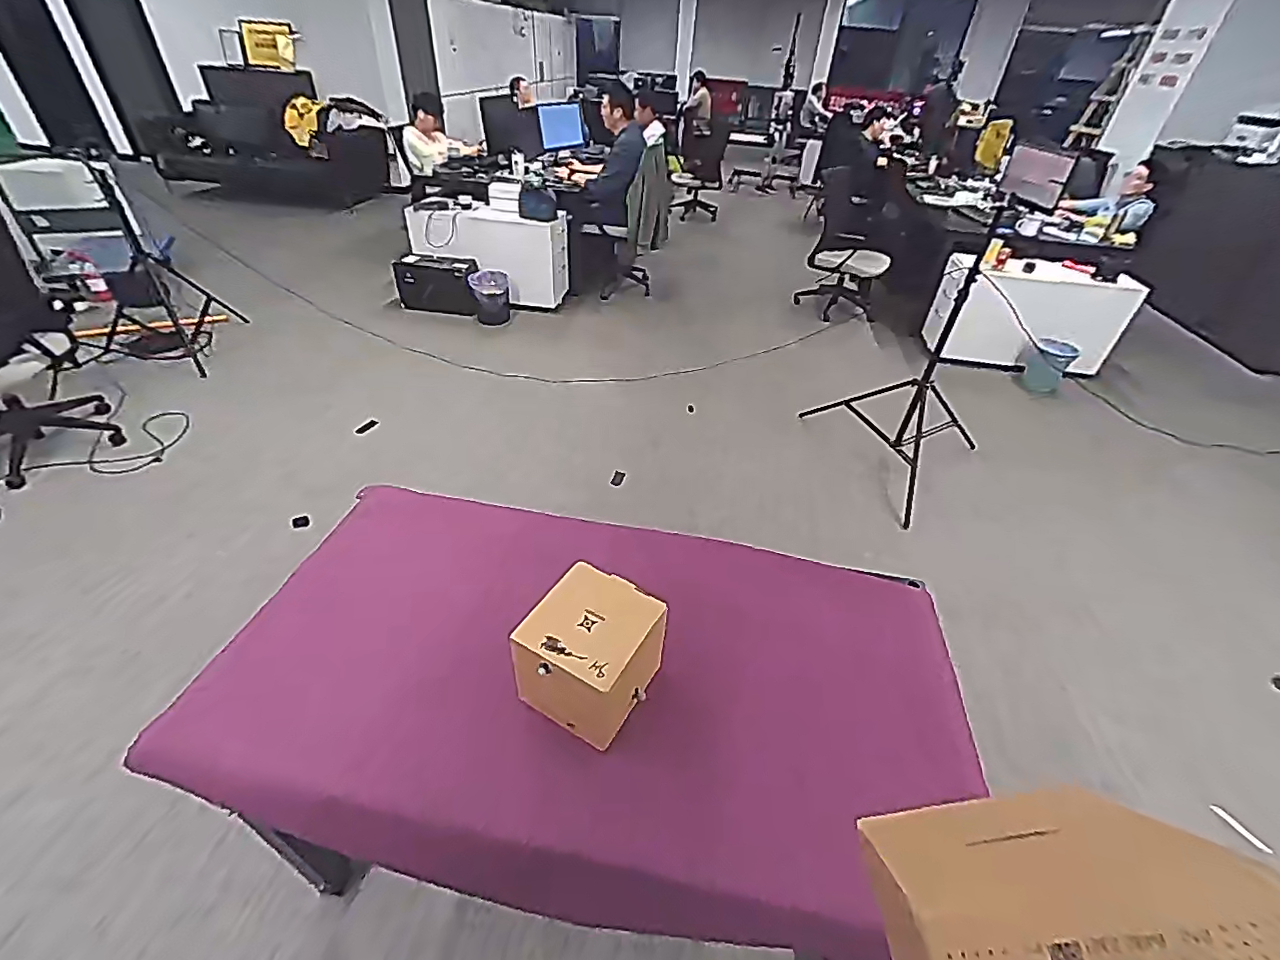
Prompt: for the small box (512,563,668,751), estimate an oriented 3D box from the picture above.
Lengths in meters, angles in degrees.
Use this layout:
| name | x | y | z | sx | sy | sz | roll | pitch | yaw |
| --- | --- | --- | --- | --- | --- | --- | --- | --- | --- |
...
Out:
| name | x | y | z | sx | sy | sz | roll | pitch | yaw |
| --- | --- | --- | --- | --- | --- | --- | --- | --- | --- |
| small box | -0.076 | 0.268 | 0.831 | 0.168 | 0.176 | 0.179 | 22 | 41 | 21 |
